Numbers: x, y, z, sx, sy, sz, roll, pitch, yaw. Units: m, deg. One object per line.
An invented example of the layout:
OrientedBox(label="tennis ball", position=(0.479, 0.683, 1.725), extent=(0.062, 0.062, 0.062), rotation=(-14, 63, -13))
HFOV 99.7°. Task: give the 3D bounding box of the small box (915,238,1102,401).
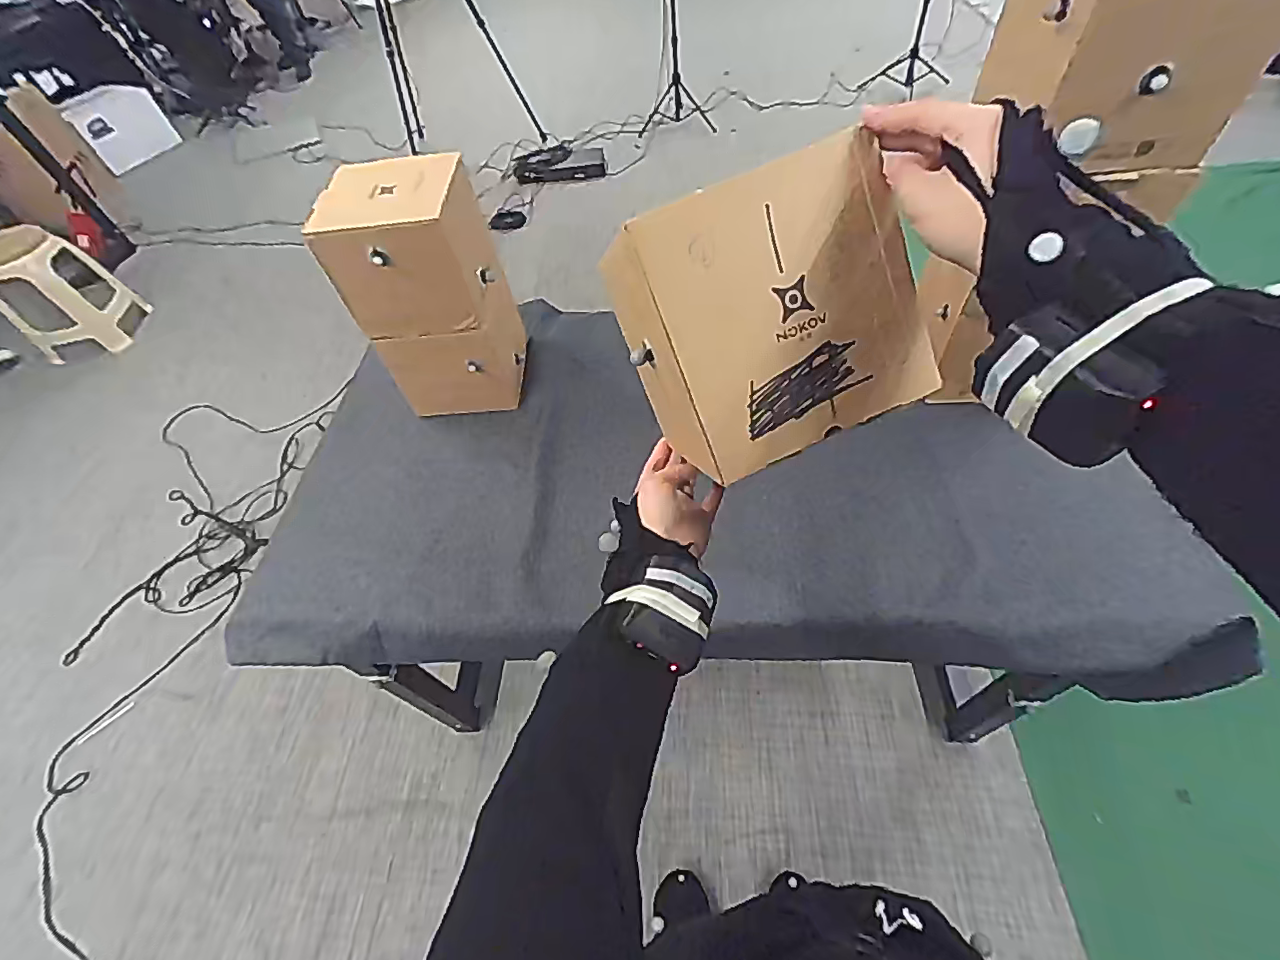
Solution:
OrientedBox(label="small box", position=(0.501, -0.236, 0.783), extent=(0.168, 0.176, 0.179), rotation=(0, 55, 8))

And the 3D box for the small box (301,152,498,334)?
OrientedBox(label="small box", position=(-0.316, -0.321, 0.750), extent=(0.179, 0.176, 0.168), rotation=(-4, 56, 3))

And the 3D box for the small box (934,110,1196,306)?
OrientedBox(label="small box", position=(0.480, -0.325, 0.648), extent=(0.168, 0.176, 0.179), rotation=(1, 56, 8))

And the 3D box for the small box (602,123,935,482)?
OrientedBox(label="small box", position=(0.082, -0.124, 0.416), extent=(0.168, 0.179, 0.176), rotation=(-25, 16, -4))

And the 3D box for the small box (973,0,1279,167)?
OrientedBox(label="small box", position=(0.454, -0.420, 0.515), extent=(0.168, 0.176, 0.179), rotation=(-1, 55, 7))
